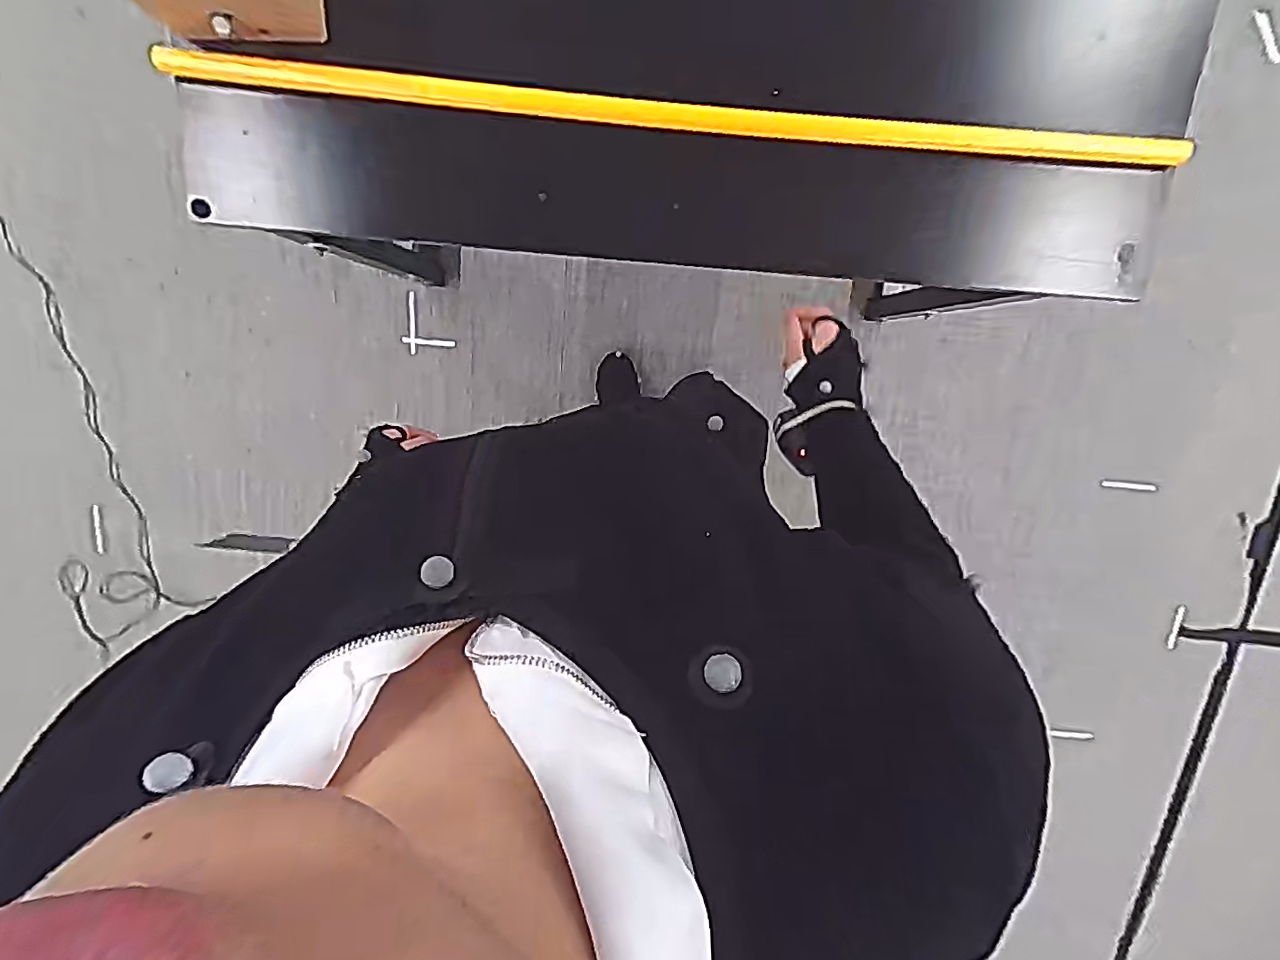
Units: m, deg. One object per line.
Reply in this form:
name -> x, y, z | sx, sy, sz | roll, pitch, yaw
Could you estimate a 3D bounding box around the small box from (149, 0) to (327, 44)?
small box -> -0.439, -0.577, 0.530 | 0.168, 0.176, 0.179 | 0, 104, -1
